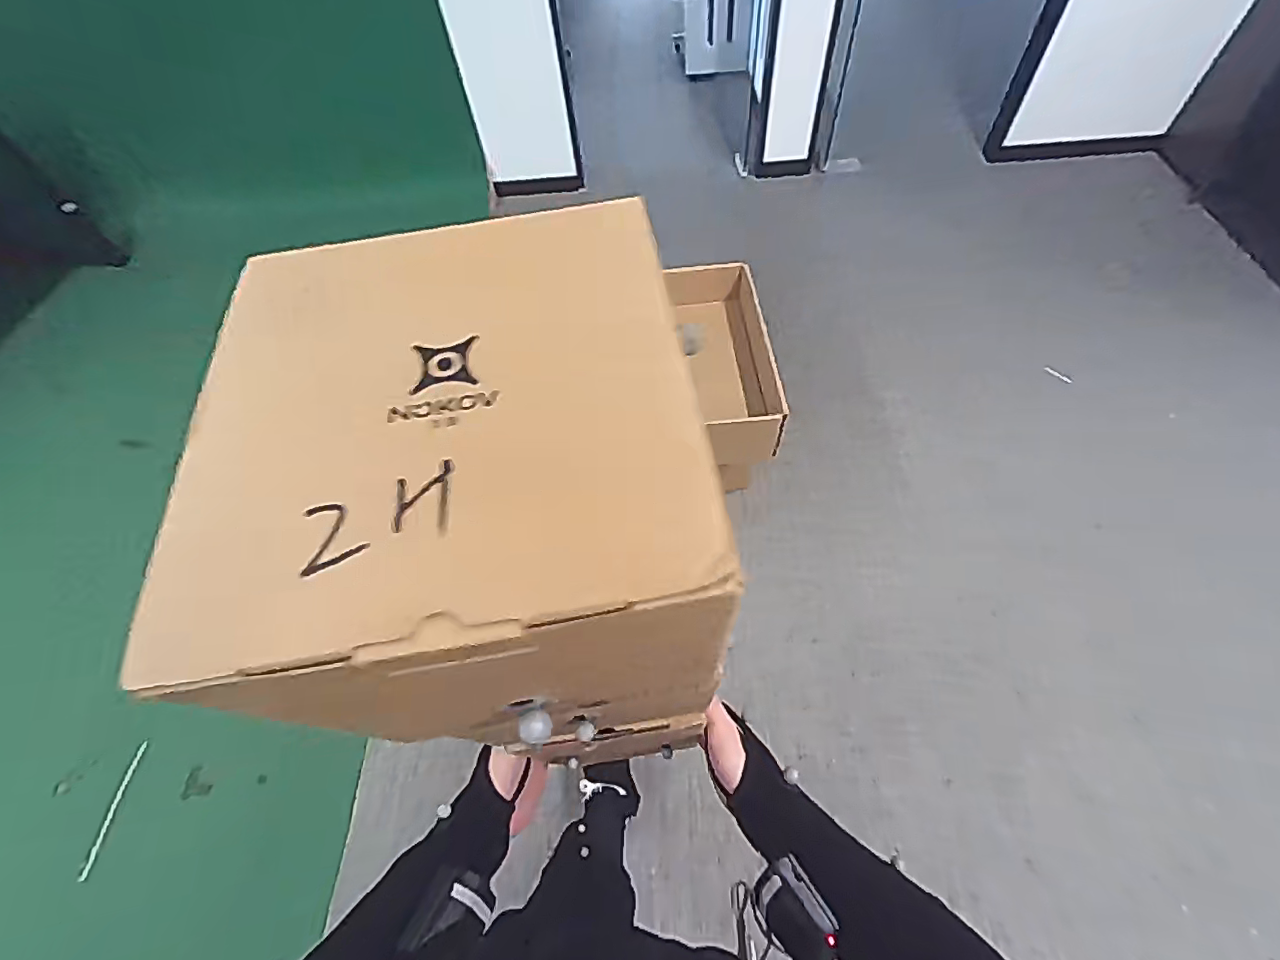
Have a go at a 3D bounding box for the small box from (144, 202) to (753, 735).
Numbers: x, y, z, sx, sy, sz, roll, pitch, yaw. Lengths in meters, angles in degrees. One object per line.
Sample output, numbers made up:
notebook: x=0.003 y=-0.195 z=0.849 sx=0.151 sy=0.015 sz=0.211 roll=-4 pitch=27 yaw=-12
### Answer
small box: x=-0.056 y=0.006 z=0.254 sx=0.168 sy=0.176 sz=0.179 roll=-9 pitch=60 yaw=-1

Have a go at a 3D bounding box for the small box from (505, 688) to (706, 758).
small box: x=-0.030 y=0.171 z=0.538 sx=0.168 sy=0.176 sz=0.179 roll=-7 pitch=59 yaw=-1
